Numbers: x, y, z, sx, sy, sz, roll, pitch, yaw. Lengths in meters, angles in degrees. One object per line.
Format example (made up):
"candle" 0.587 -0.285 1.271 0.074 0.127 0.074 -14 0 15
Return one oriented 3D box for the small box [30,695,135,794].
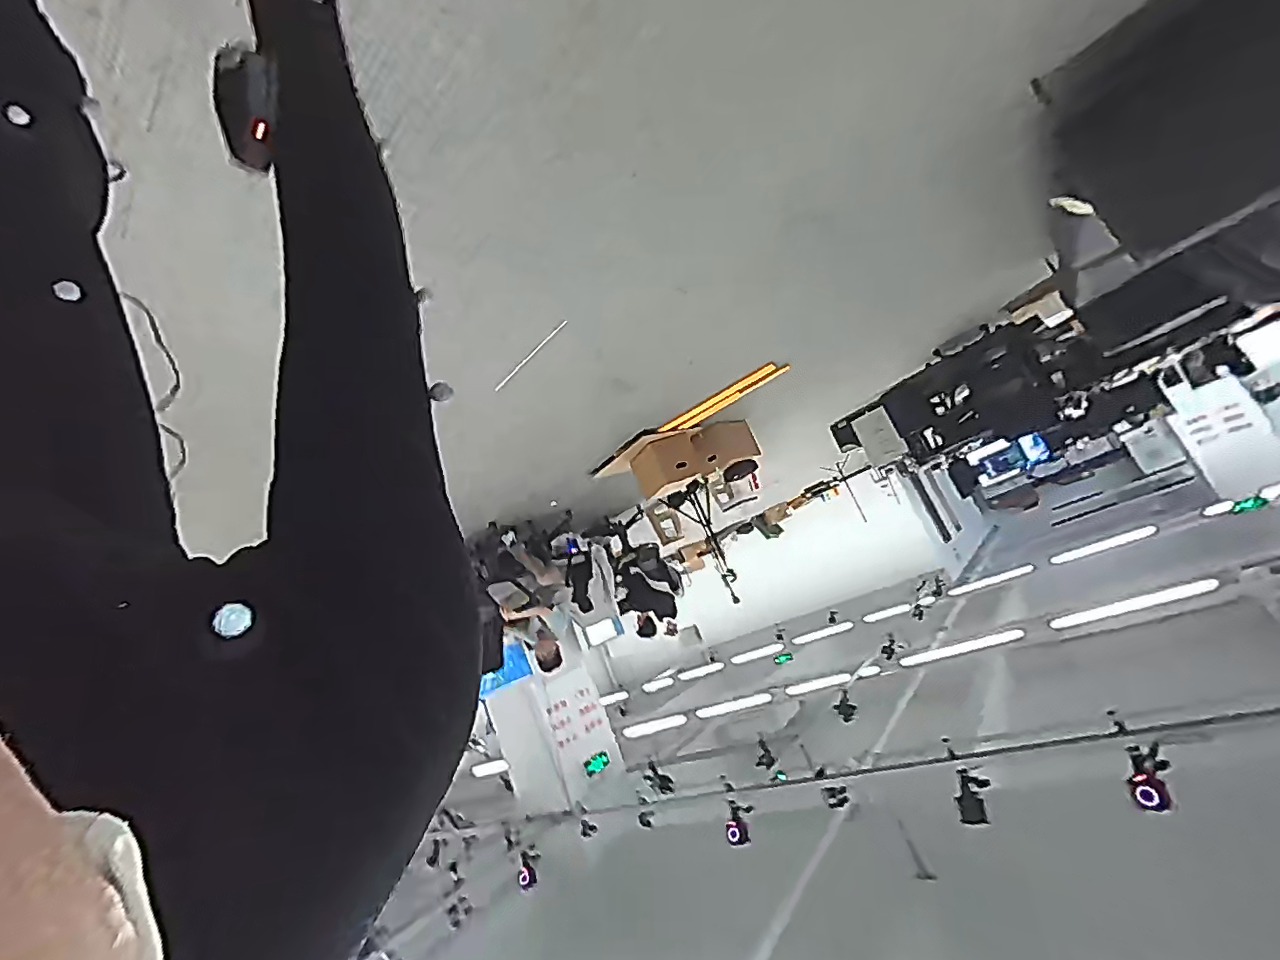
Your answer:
"small box" -1.419 0.667 1.375 0.179 0.176 0.168 -32 164 36
